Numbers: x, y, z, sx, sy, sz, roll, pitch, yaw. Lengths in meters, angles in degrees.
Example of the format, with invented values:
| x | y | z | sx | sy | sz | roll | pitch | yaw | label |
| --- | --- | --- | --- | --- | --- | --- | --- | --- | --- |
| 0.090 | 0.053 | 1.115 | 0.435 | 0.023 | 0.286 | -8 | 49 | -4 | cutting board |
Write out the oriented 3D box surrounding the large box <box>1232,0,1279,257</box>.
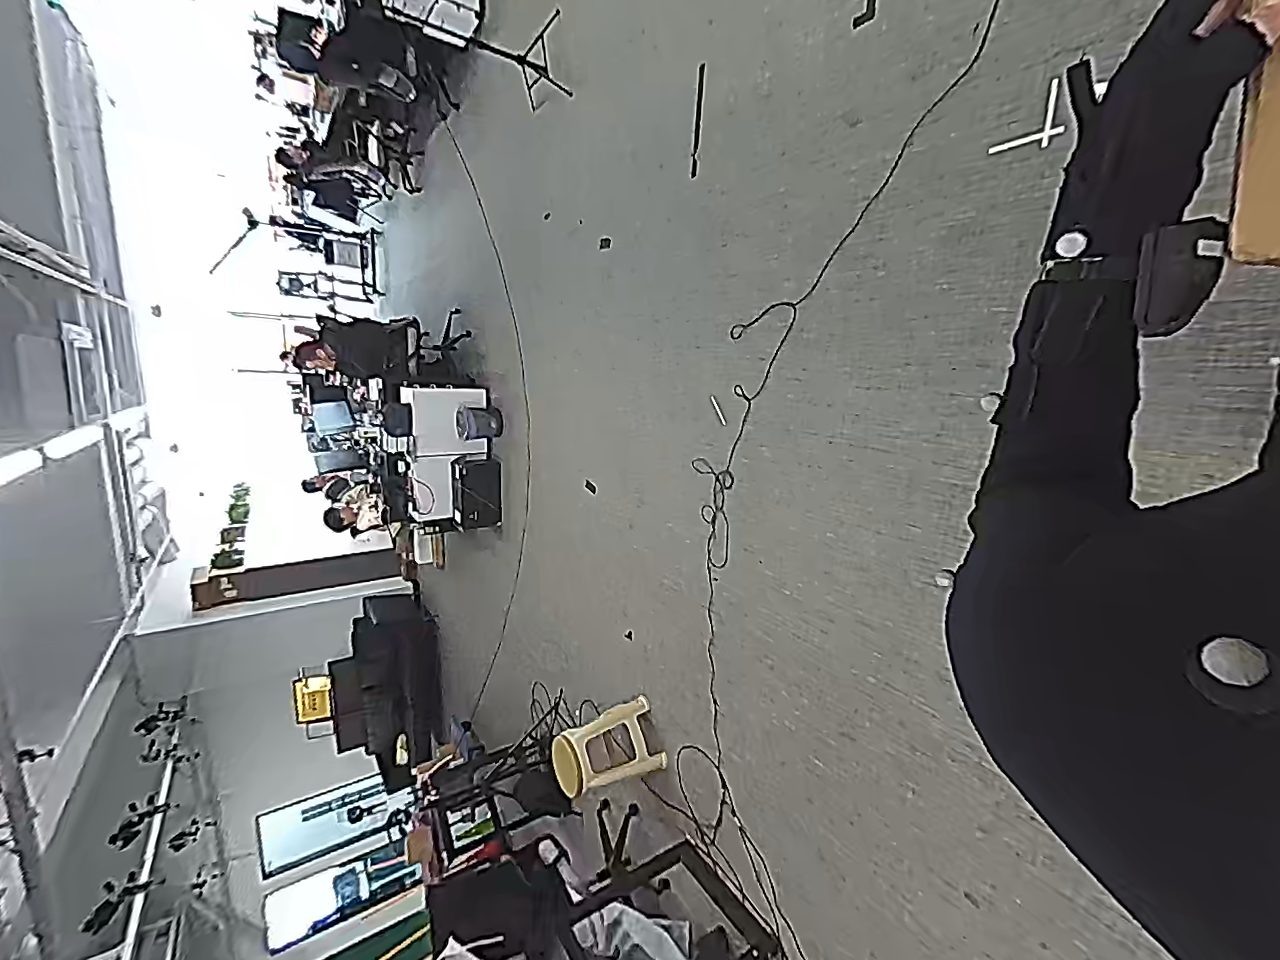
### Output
| x | y | z | sx | sy | sz | roll | pitch | yaw | label |
| --- | --- | --- | --- | --- | --- | --- | --- | --- | --- |
| 0.562 | -0.296 | 0.216 | 0.408 | 0.320 | 0.320 | 9 | 111 | 53 | large box |
